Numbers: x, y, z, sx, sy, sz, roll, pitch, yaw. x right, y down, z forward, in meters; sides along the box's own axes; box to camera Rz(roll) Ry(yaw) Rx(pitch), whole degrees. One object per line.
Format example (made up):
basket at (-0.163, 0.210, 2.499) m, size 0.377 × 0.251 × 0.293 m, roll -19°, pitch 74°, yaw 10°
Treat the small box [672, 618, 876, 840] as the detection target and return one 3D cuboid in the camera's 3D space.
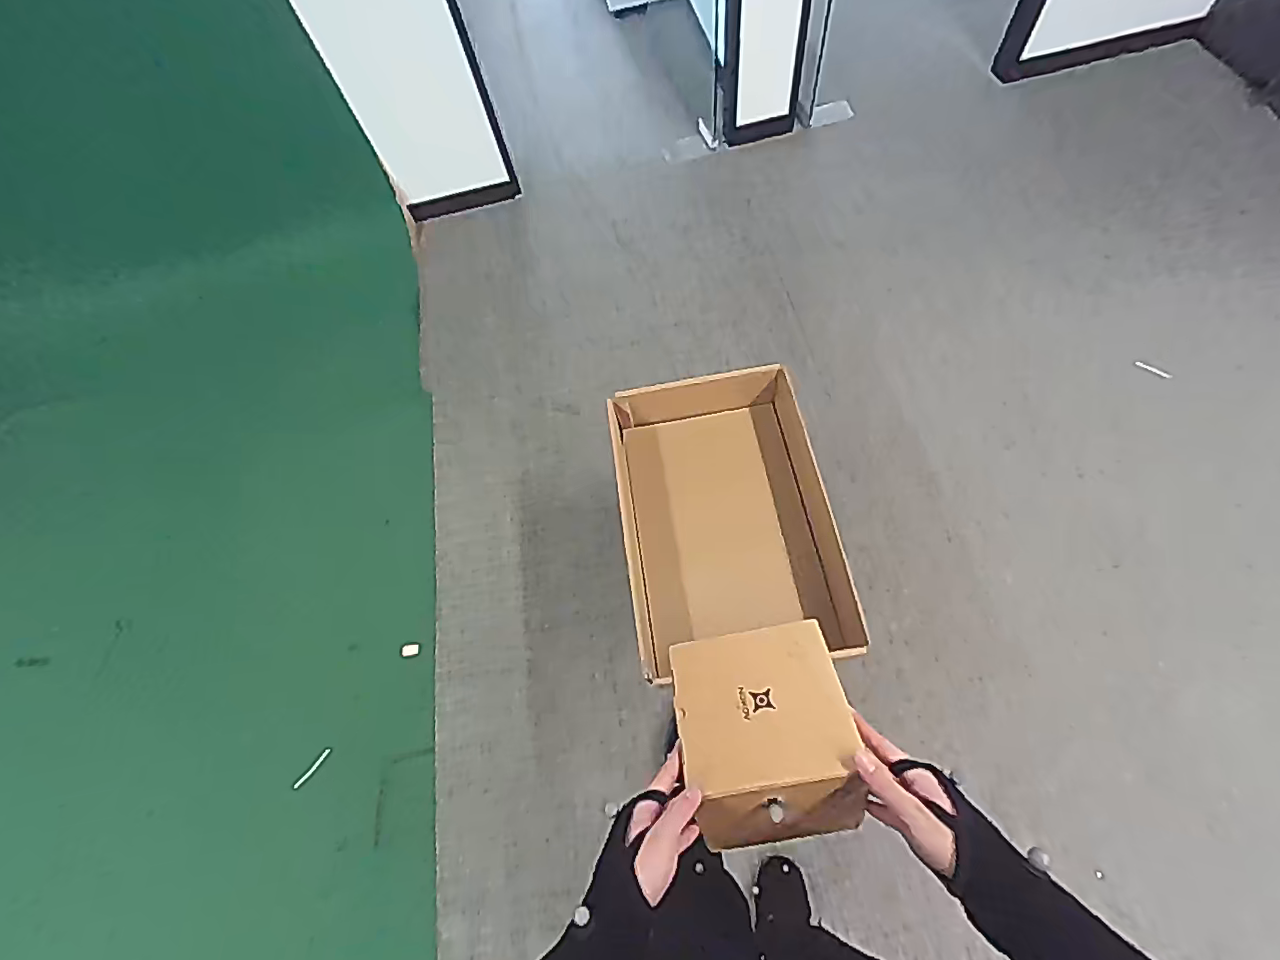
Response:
small box at (0.143, 0.283, 0.611) m, size 0.179 × 0.176 × 0.168 m, roll -13°, pitch 42°, yaw 6°
